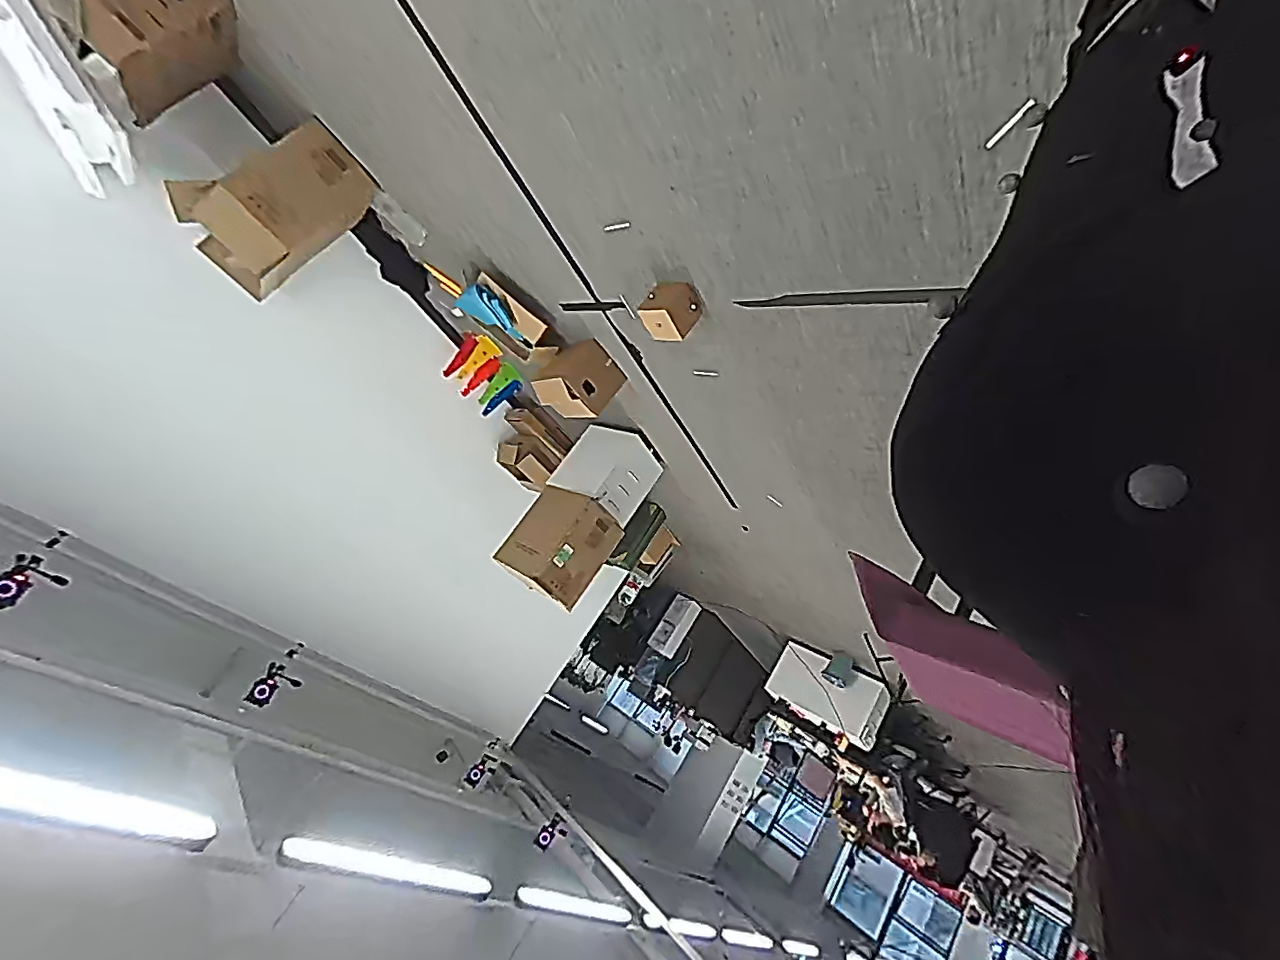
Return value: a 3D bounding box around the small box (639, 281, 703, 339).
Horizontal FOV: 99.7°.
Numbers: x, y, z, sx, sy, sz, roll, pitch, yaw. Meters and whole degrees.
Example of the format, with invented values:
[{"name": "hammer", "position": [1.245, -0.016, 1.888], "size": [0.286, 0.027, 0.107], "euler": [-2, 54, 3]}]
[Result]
[{"name": "small box", "position": [0.133, -0.713, 2.267], "size": [0.179, 0.176, 0.168], "euler": [15, 153, 45]}]
